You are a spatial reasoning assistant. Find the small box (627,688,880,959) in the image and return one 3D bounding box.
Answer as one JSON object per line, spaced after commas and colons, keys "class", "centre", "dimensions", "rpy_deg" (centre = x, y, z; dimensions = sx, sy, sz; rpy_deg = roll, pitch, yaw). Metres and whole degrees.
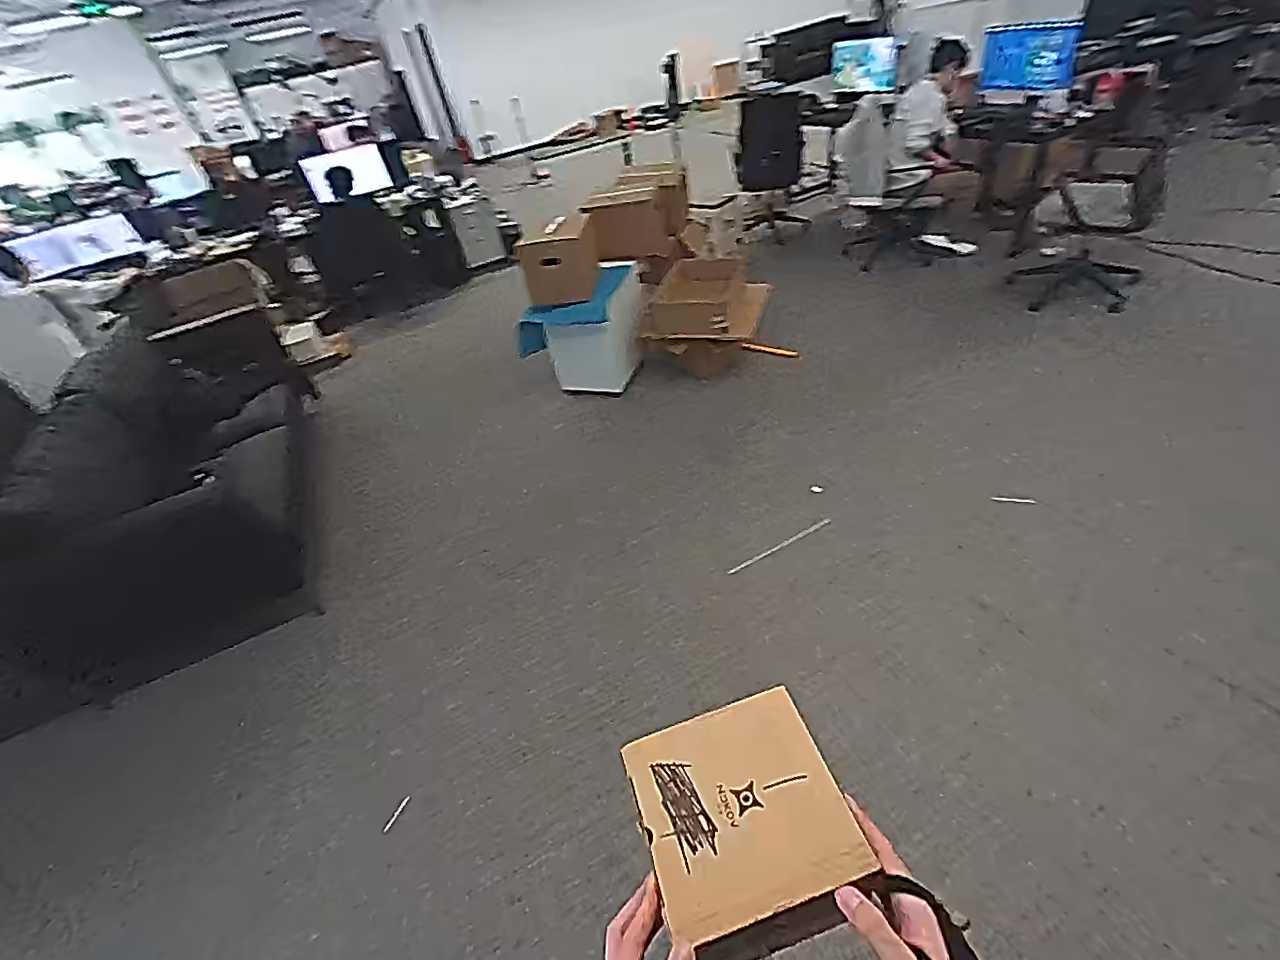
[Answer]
{"class": "small box", "centre": [0.104, 0.341, 0.523], "dimensions": [0.179, 0.176, 0.168], "rpy_deg": [-18, 40, -5]}
